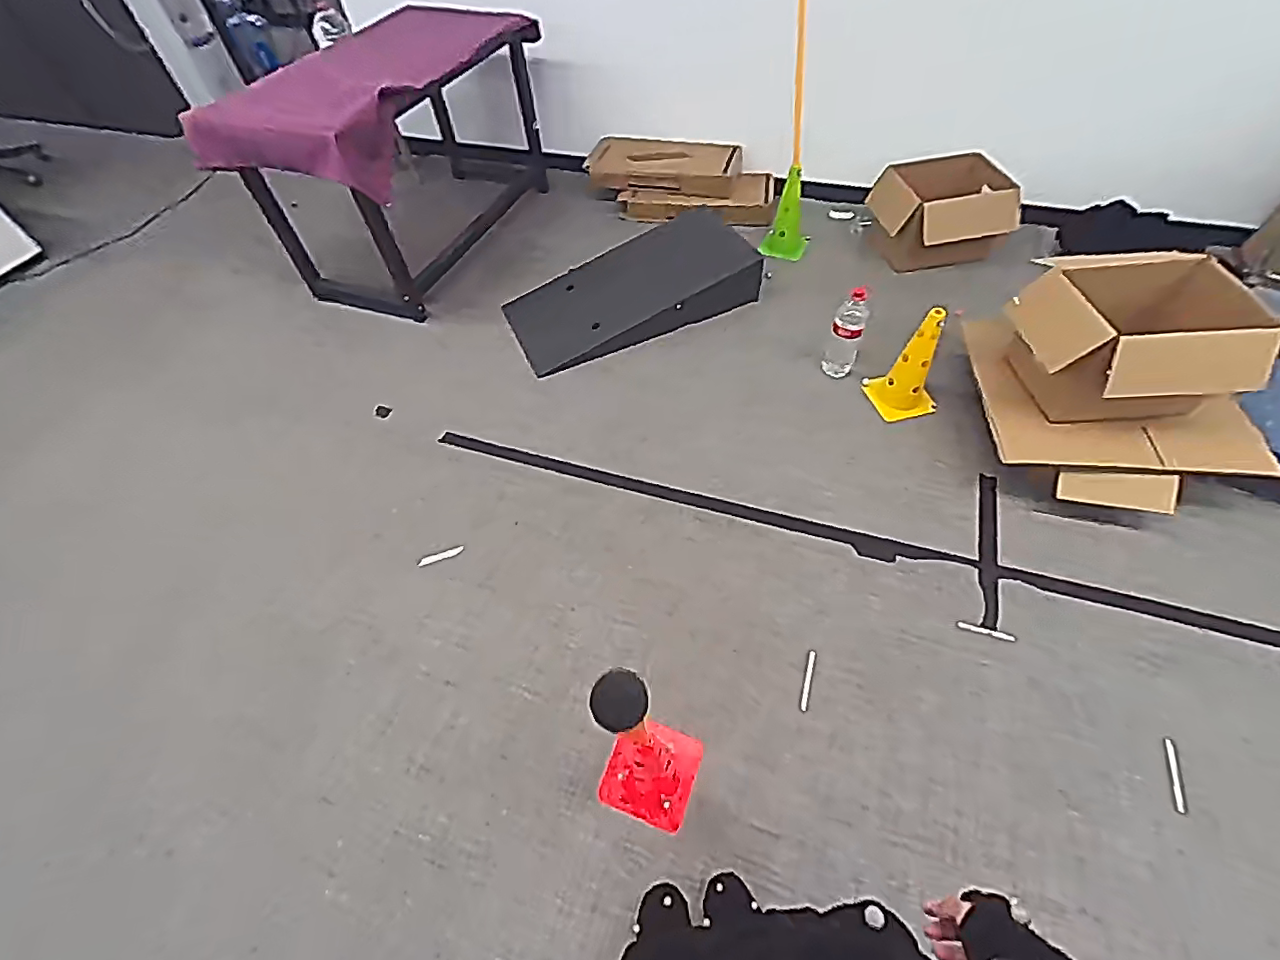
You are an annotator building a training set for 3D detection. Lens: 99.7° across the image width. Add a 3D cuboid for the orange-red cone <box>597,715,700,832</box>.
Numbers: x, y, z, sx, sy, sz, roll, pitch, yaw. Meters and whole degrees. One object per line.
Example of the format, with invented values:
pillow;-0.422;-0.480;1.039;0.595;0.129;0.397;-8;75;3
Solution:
orange-red cone;0.013;0.566;1.102;0.198;0.360;0.199;18;56;15
